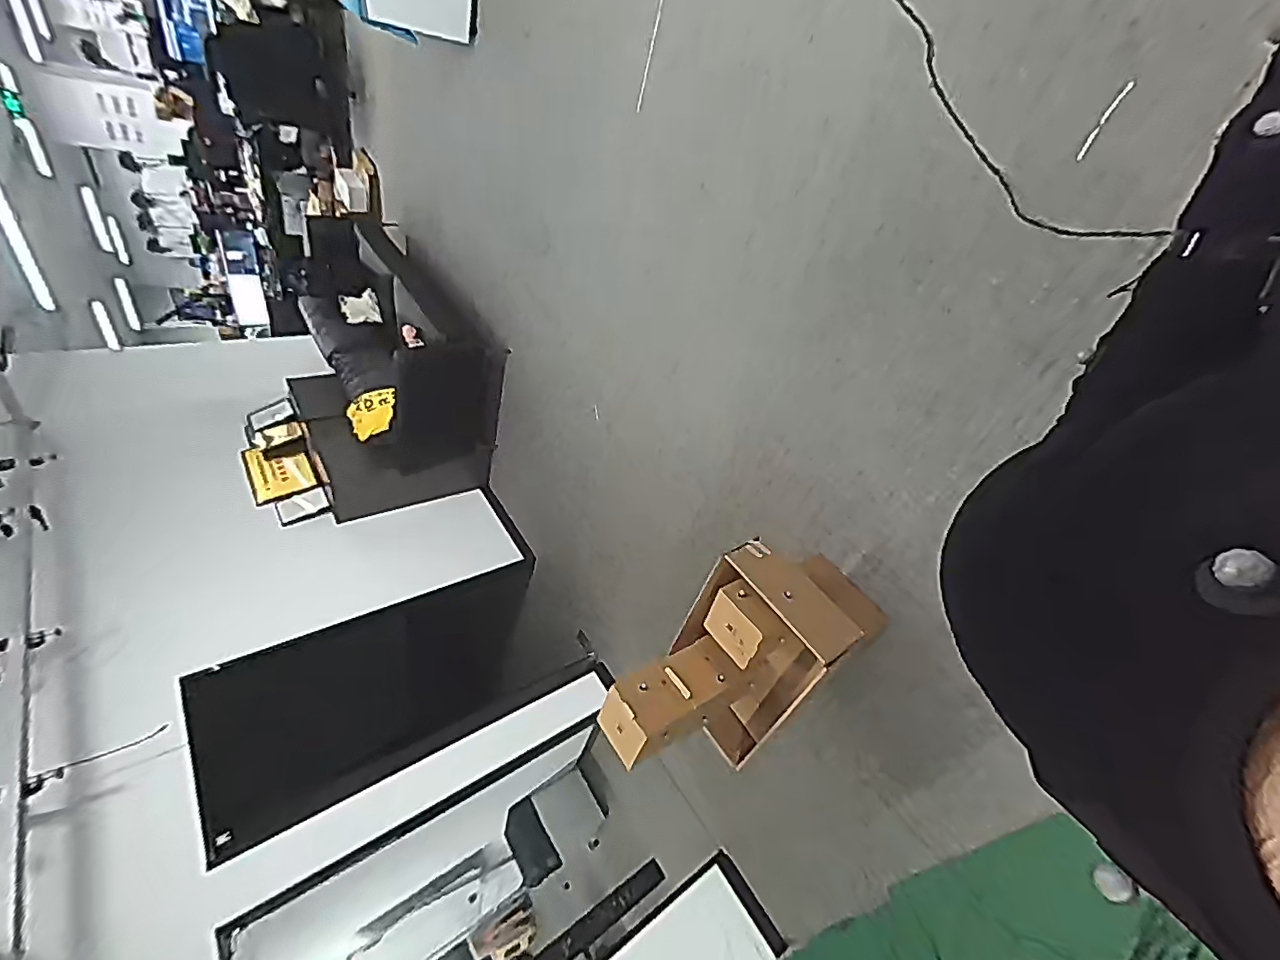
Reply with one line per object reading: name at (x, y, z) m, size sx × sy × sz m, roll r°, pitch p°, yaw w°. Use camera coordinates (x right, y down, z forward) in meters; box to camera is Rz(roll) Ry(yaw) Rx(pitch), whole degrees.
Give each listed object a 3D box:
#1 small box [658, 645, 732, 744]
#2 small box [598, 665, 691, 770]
small box at (0.142, 0.614, 1.569) m, size 0.168 × 0.176 × 0.179 m, roll 43°, pitch 132°, yaw 35°
small box at (0.014, 0.640, 1.472) m, size 0.168 × 0.176 × 0.179 m, roll 47°, pitch 133°, yaw 34°
